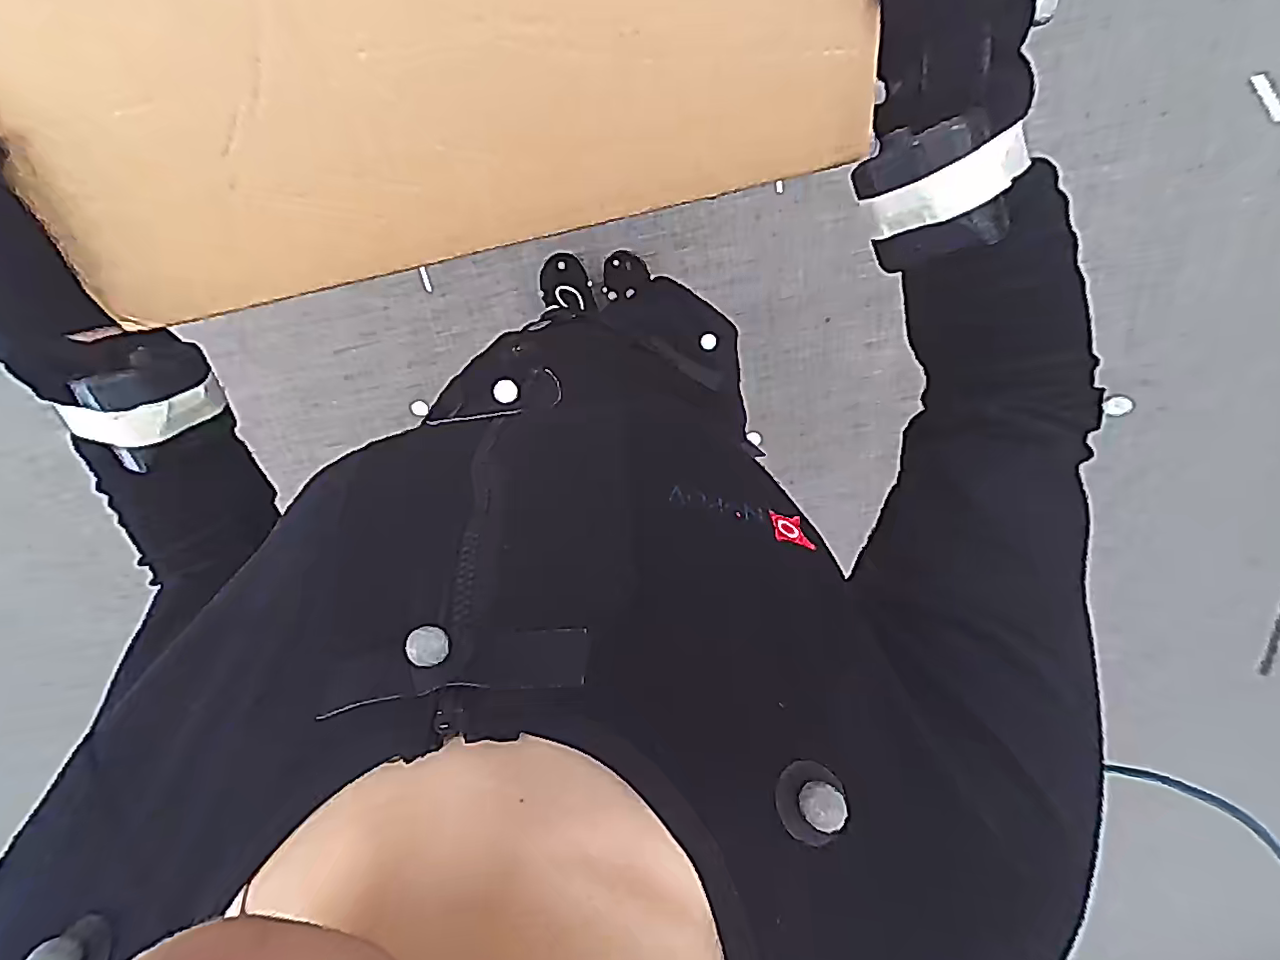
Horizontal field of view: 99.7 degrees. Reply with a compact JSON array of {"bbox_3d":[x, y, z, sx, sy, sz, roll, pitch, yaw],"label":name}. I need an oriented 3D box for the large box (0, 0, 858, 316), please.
[{"bbox_3d":[-0.127,-0.342,0.302,0.408,0.320,0.320,-12,131,3],"label":"large box"}]
